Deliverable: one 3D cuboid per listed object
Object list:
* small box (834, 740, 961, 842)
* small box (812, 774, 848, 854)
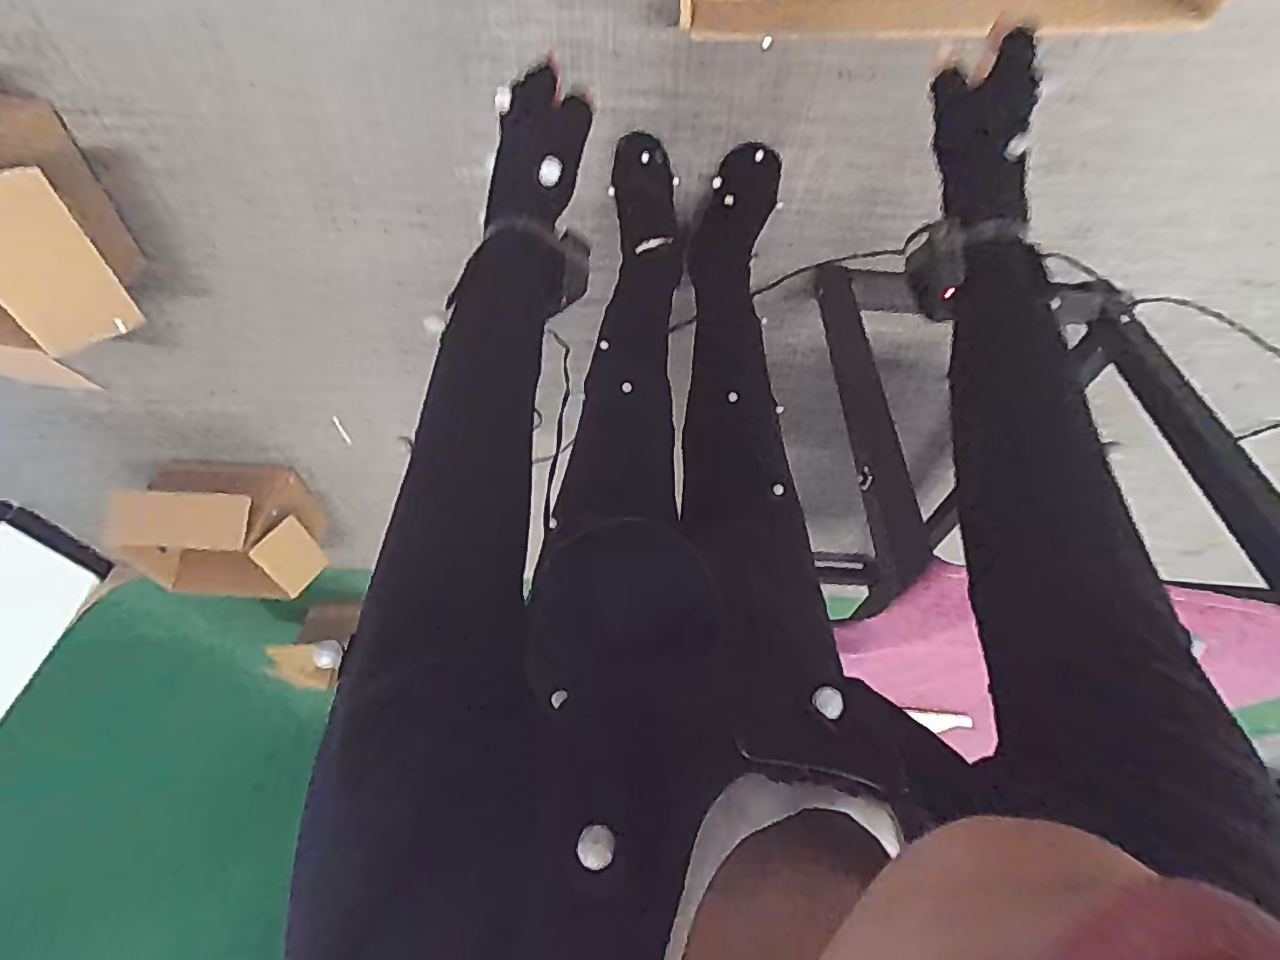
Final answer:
[{"bbox_3d":[0.519,0.649,1.123,0.179,0.176,0.168,2,142,2],"label":"small box"},{"bbox_3d":[0.551,0.849,1.372,0.179,0.176,0.168,4,142,0],"label":"small box"}]
